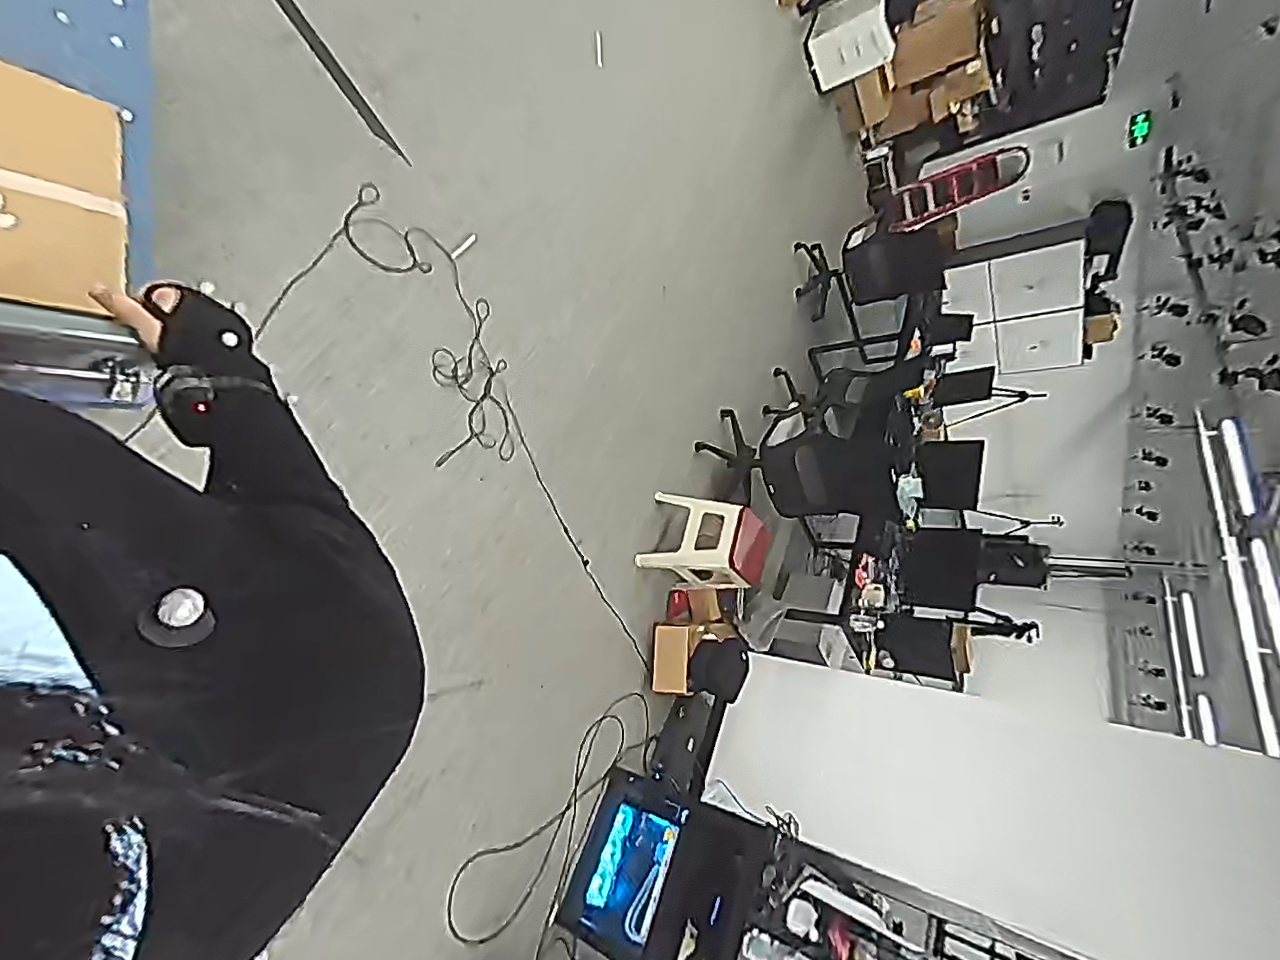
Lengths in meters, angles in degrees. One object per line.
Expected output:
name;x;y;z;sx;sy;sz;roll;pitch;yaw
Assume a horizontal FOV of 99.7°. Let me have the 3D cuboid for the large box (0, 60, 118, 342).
large box;-1.010;-0.392;0.718;0.408;0.320;0.320;-1;92;-54
